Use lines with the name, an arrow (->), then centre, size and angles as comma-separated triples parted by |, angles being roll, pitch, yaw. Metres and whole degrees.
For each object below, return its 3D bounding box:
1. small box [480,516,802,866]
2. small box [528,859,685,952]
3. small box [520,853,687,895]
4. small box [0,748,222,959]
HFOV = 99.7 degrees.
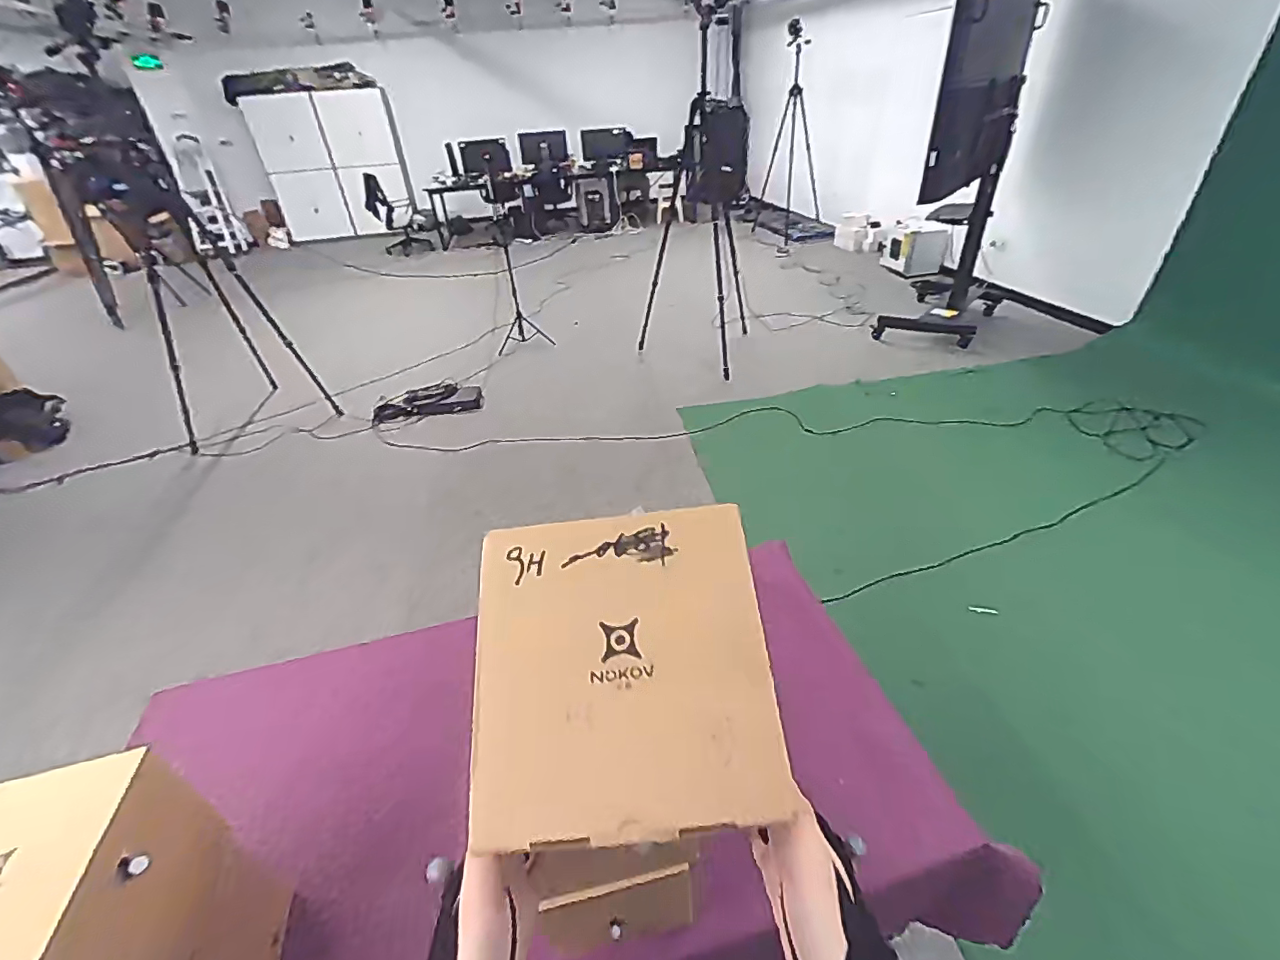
small box -> 0.000, 0.141, 0.375 | 0.168, 0.176, 0.179 | -5, 64, 1
small box -> -0.043, 0.436, 0.661 | 0.168, 0.176, 0.179 | -9, 35, -8
small box -> -0.045, 0.299, 0.569 | 0.179, 0.176, 0.168 | -9, 36, -8
small box -> -0.529, 0.388, 0.492 | 0.168, 0.176, 0.179 | -11, 36, -10
